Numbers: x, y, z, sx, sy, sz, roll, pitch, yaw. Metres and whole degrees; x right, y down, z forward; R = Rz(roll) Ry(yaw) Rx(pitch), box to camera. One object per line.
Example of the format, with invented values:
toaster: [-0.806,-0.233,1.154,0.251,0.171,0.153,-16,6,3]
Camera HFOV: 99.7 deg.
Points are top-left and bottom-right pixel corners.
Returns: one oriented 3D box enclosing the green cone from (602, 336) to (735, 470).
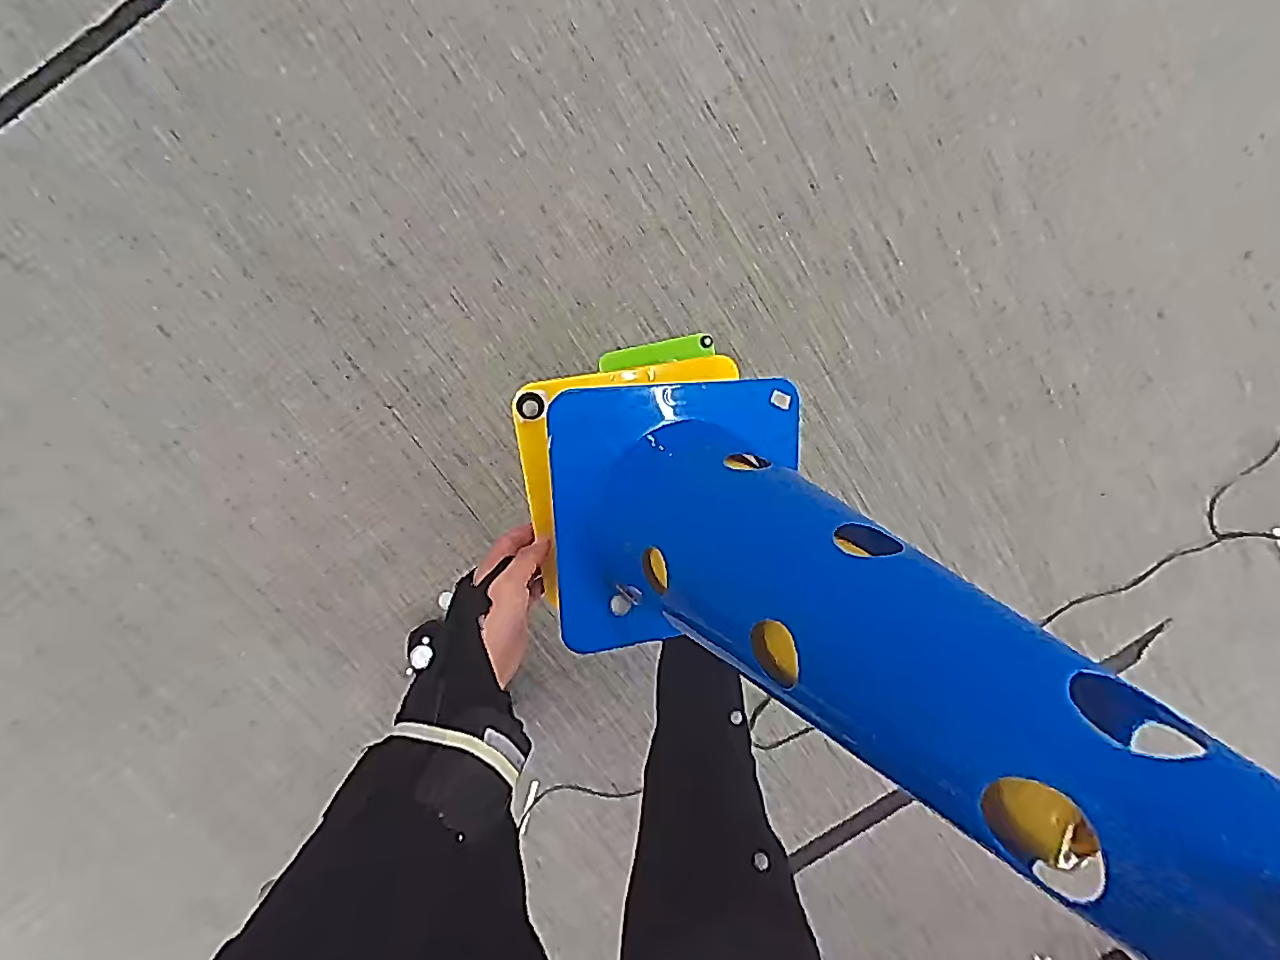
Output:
green cone: [0.062,-0.097,0.758,0.200,0.368,0.202,-13,102,-2]
